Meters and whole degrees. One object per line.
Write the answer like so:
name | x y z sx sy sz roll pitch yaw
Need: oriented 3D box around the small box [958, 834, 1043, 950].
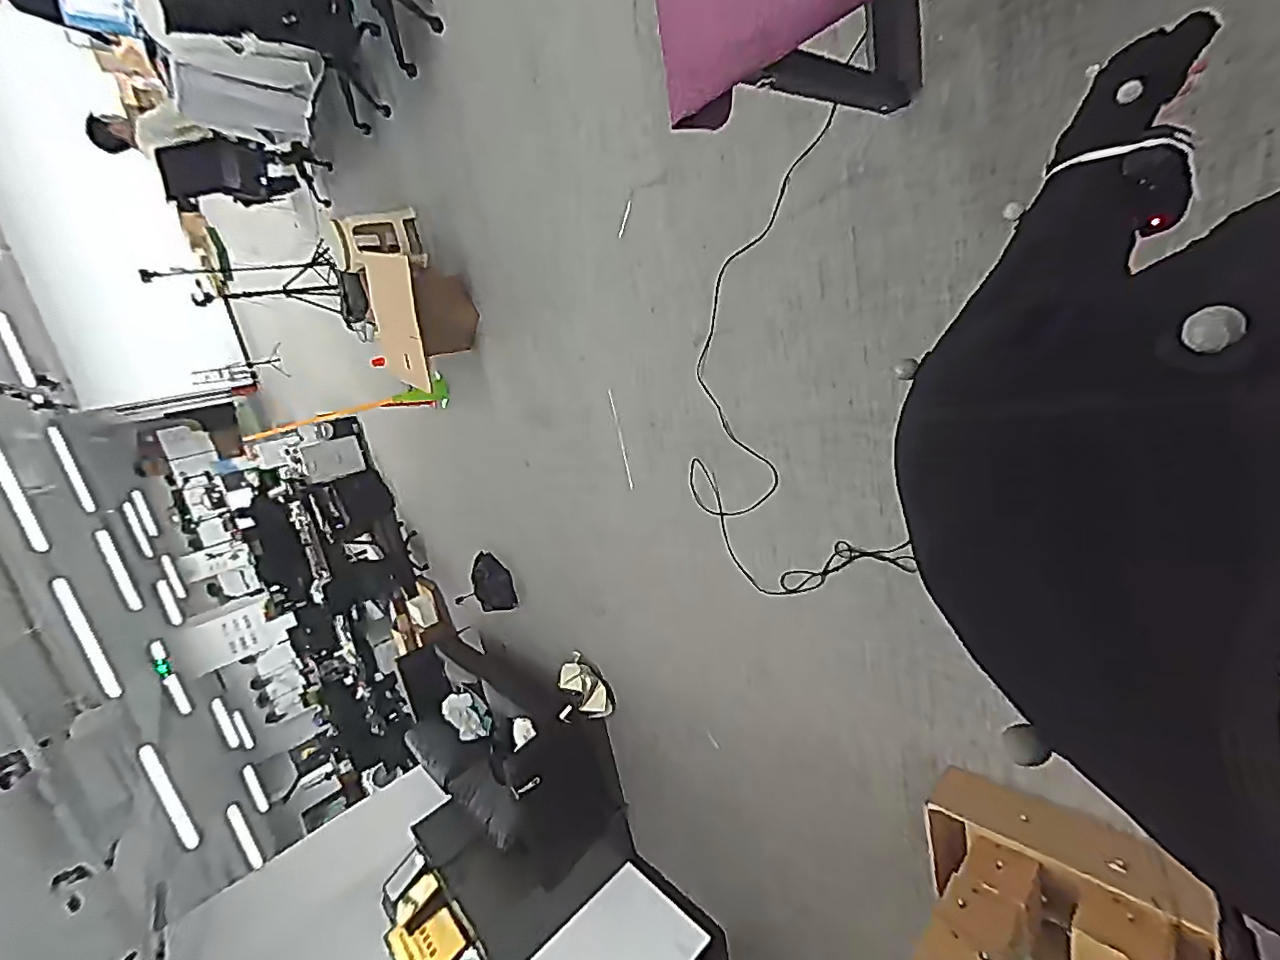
small box | 1.058 1.192 1.584 0.168 0.176 0.179 -4 105 49

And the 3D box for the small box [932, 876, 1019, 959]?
small box | 0.919 1.249 1.481 0.168 0.176 0.179 2 110 48
